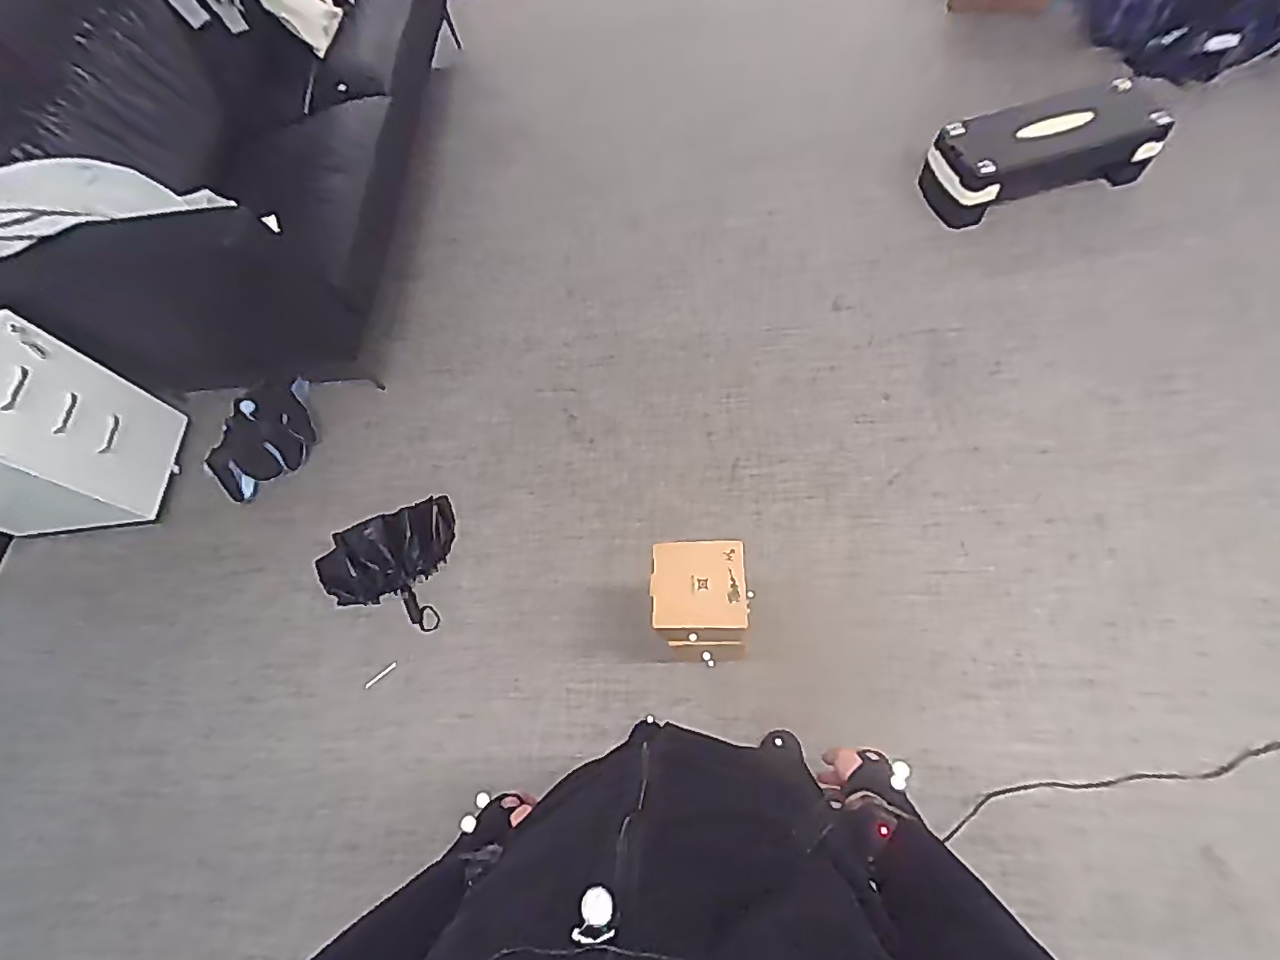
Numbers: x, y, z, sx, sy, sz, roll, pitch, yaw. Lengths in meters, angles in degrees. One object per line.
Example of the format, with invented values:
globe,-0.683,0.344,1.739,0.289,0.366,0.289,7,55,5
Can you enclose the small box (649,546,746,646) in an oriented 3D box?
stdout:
small box,0.118,0.237,1.080,0.179,0.176,0.168,-3,65,9

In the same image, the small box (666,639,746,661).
small box,0.147,0.307,1.225,0.168,0.176,0.179,-4,65,8

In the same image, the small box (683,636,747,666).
small box,0.179,0.371,1.373,0.168,0.176,0.179,-6,66,8
